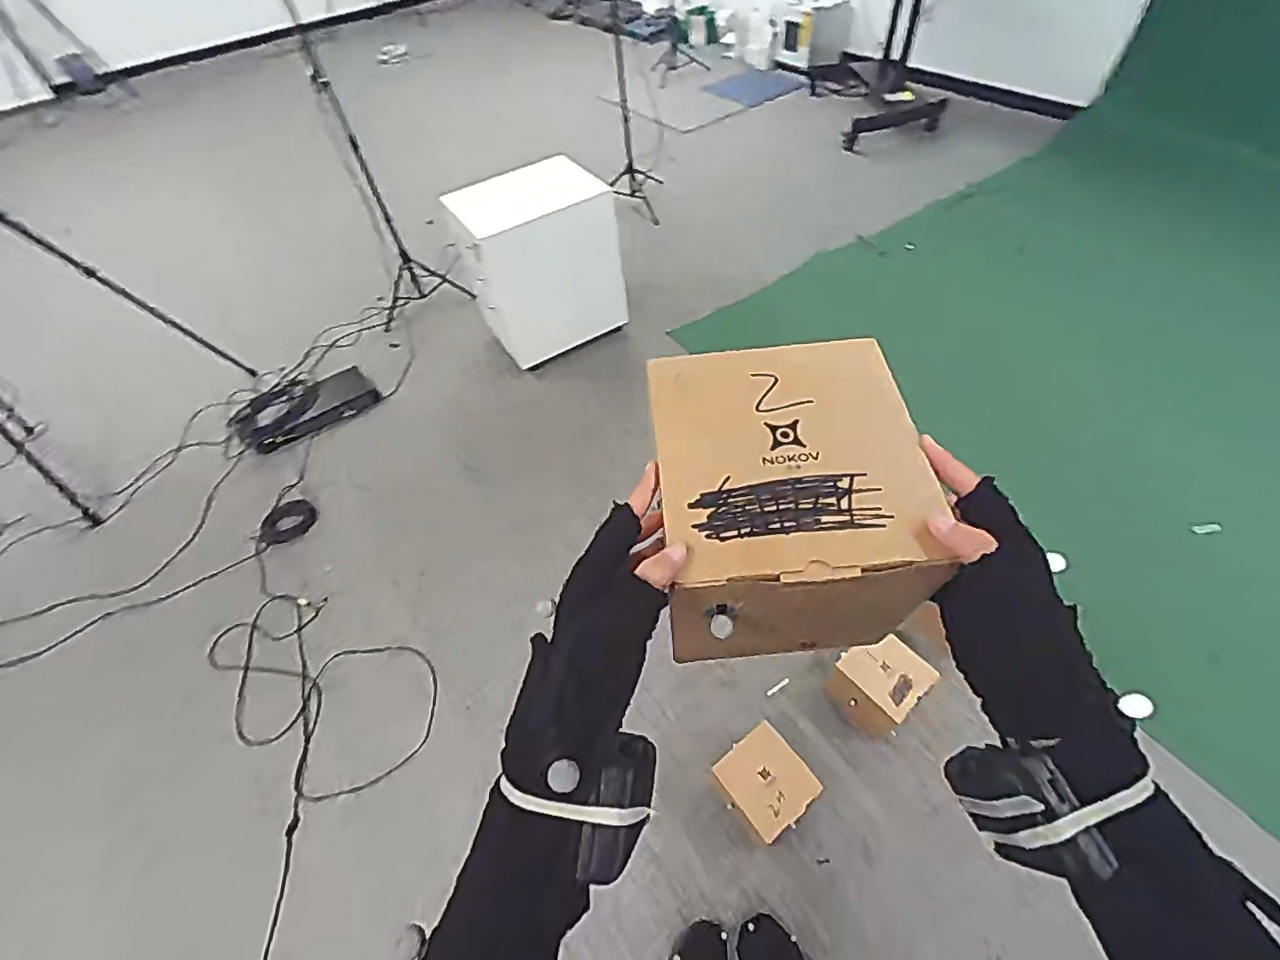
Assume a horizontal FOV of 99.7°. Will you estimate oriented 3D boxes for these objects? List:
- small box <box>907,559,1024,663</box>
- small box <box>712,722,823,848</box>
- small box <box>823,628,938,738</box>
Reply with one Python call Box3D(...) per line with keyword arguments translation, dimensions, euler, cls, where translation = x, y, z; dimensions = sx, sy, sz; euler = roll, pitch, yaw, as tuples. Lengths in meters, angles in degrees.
Box3D(translation=(0.845, 0.347, 1.424), dimensions=(0.168, 0.176, 0.179), euler=(-30, 56, -17), cls="small box")
Box3D(translation=(0.273, 0.684, 1.206), dimensions=(0.168, 0.176, 0.179), euler=(-33, 57, -18), cls="small box")
Box3D(translation=(0.580, 0.503, 1.323), dimensions=(0.168, 0.176, 0.179), euler=(-34, 56, -20), cls="small box")
